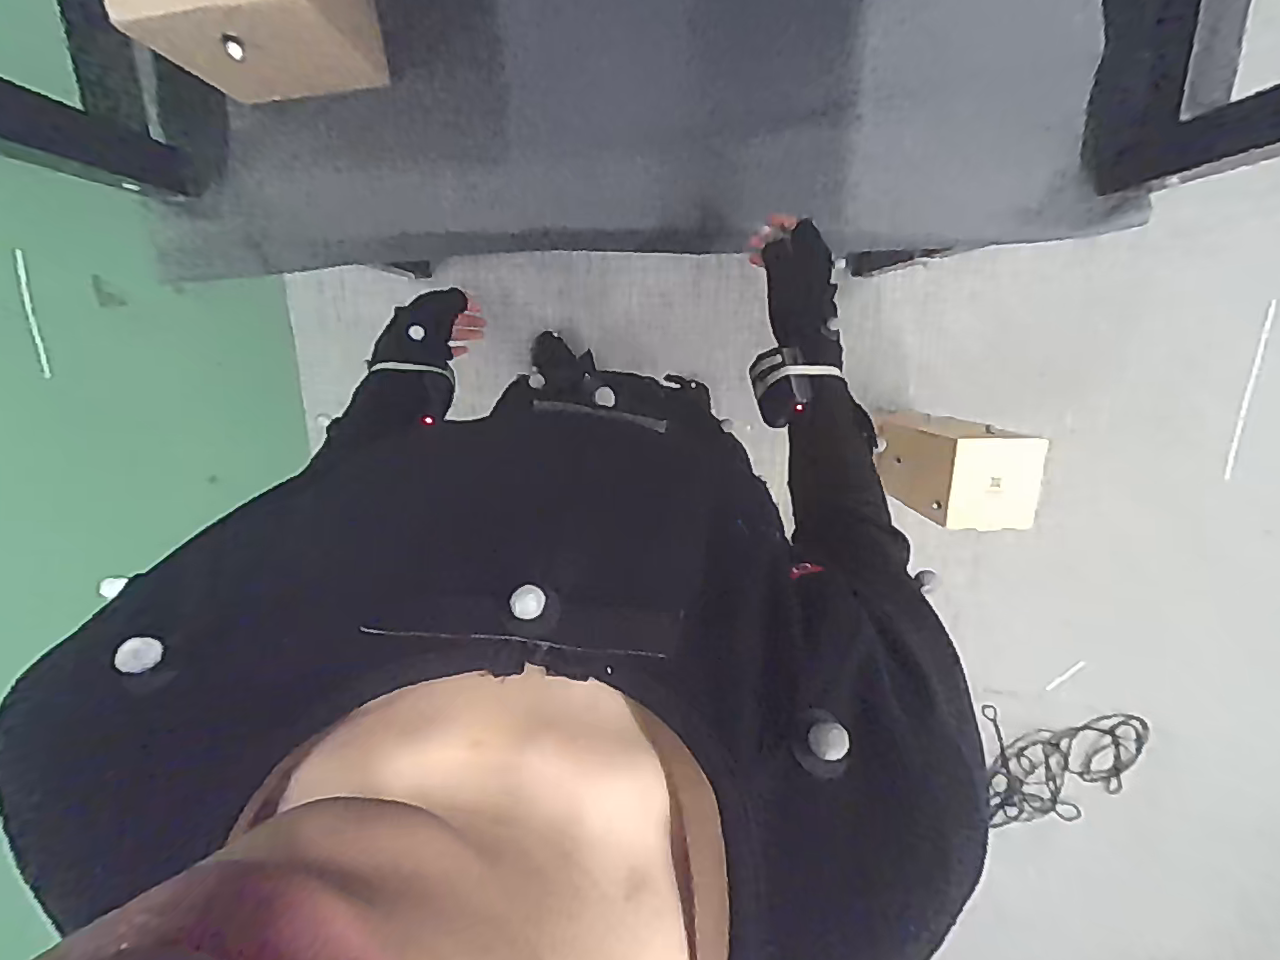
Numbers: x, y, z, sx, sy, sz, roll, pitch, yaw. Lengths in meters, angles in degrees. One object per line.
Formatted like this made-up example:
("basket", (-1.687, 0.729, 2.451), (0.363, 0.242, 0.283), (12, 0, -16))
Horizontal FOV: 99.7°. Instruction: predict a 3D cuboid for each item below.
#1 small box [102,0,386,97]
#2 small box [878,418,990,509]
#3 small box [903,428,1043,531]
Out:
("small box", (-0.380, -0.501, 0.521), (0.179, 0.176, 0.168), (-6, 105, 1))
("small box", (0.657, -0.042, 1.228), (0.168, 0.176, 0.179), (-3, 103, 1))
("small box", (0.644, -0.007, 1.068), (0.168, 0.176, 0.179), (0, 105, 1))
